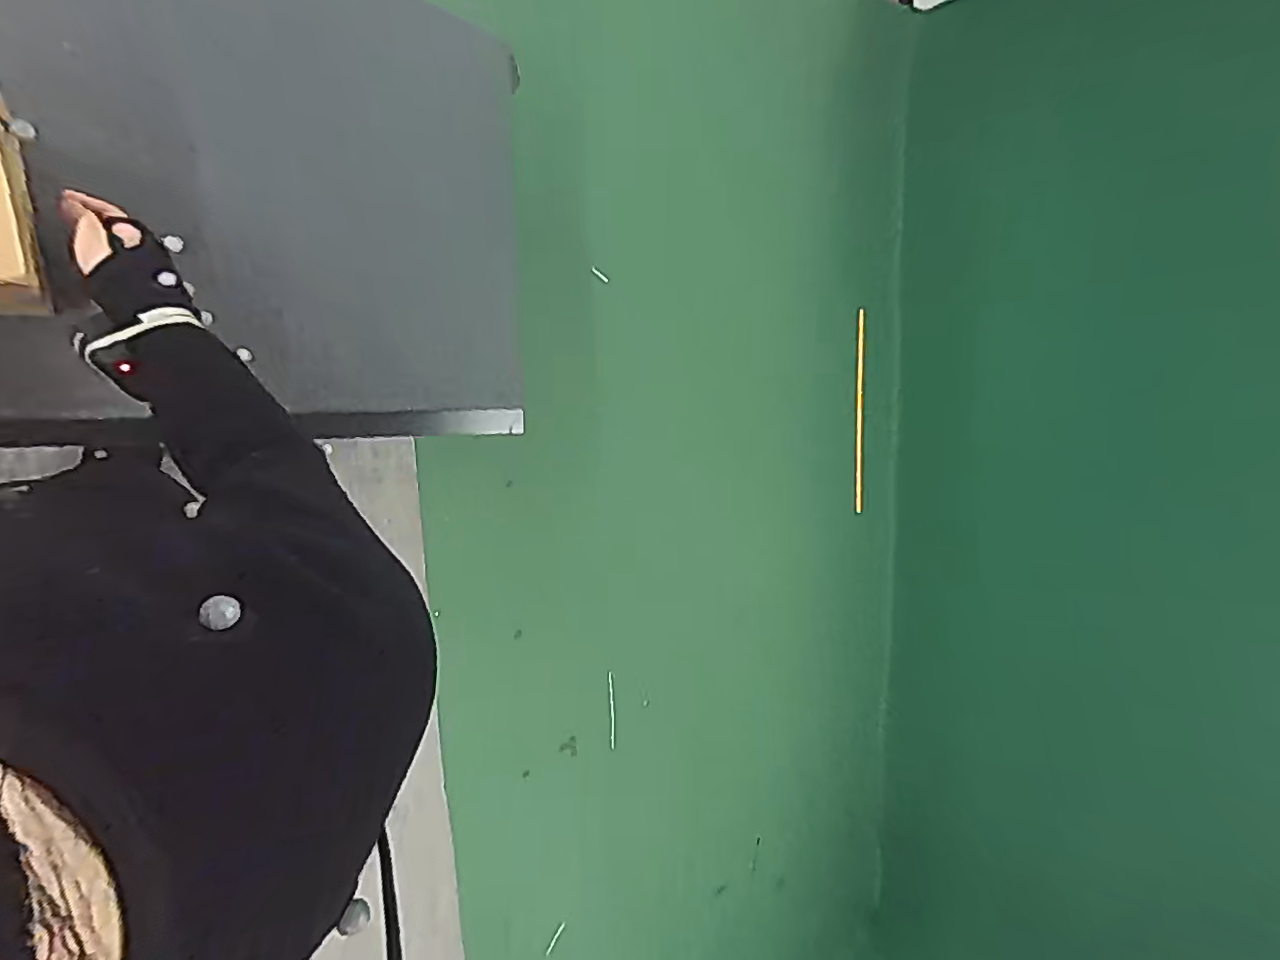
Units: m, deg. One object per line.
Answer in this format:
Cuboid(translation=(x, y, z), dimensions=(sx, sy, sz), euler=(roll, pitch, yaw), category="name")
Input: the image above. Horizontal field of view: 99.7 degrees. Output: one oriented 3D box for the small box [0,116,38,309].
Cuboid(translation=(-0.585, -0.235, 0.397), dimensions=(0.168, 0.176, 0.179), euler=(-11, 101, -42), category="small box")
